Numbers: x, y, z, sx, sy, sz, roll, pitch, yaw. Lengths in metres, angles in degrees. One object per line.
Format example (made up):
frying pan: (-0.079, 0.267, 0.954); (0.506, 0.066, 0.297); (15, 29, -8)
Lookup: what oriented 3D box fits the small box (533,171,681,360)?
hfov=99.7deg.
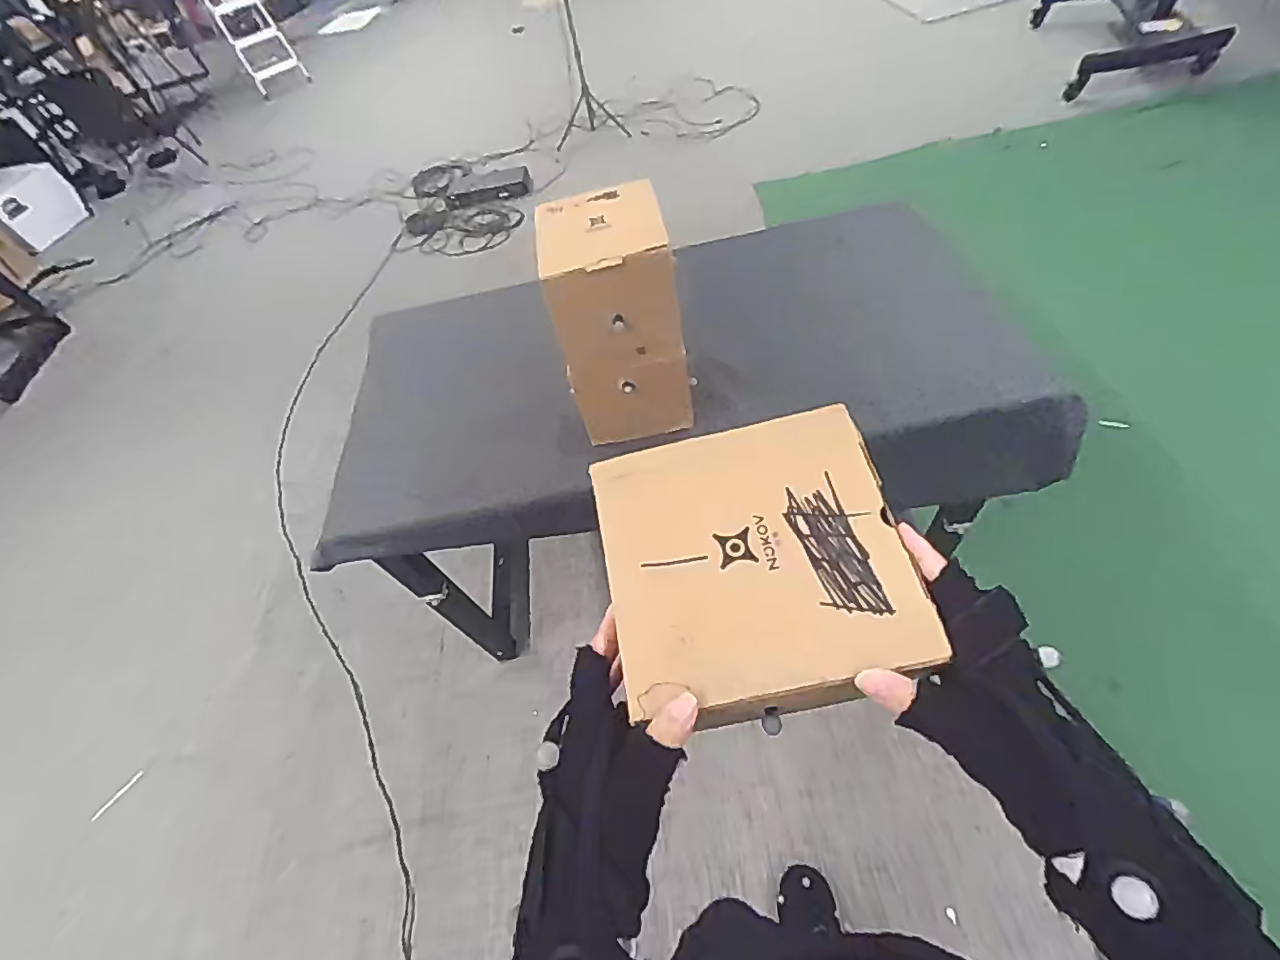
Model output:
small box: (-0.043, -0.288, 0.756); (0.168, 0.176, 0.179); (-12, 55, 3)

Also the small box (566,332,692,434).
small box: (-0.017, -0.194, 0.887); (0.179, 0.176, 0.168); (-10, 55, 3)

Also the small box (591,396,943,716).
small box: (0.074, 0.067, 0.395); (0.179, 0.176, 0.168); (-13, 62, 3)
